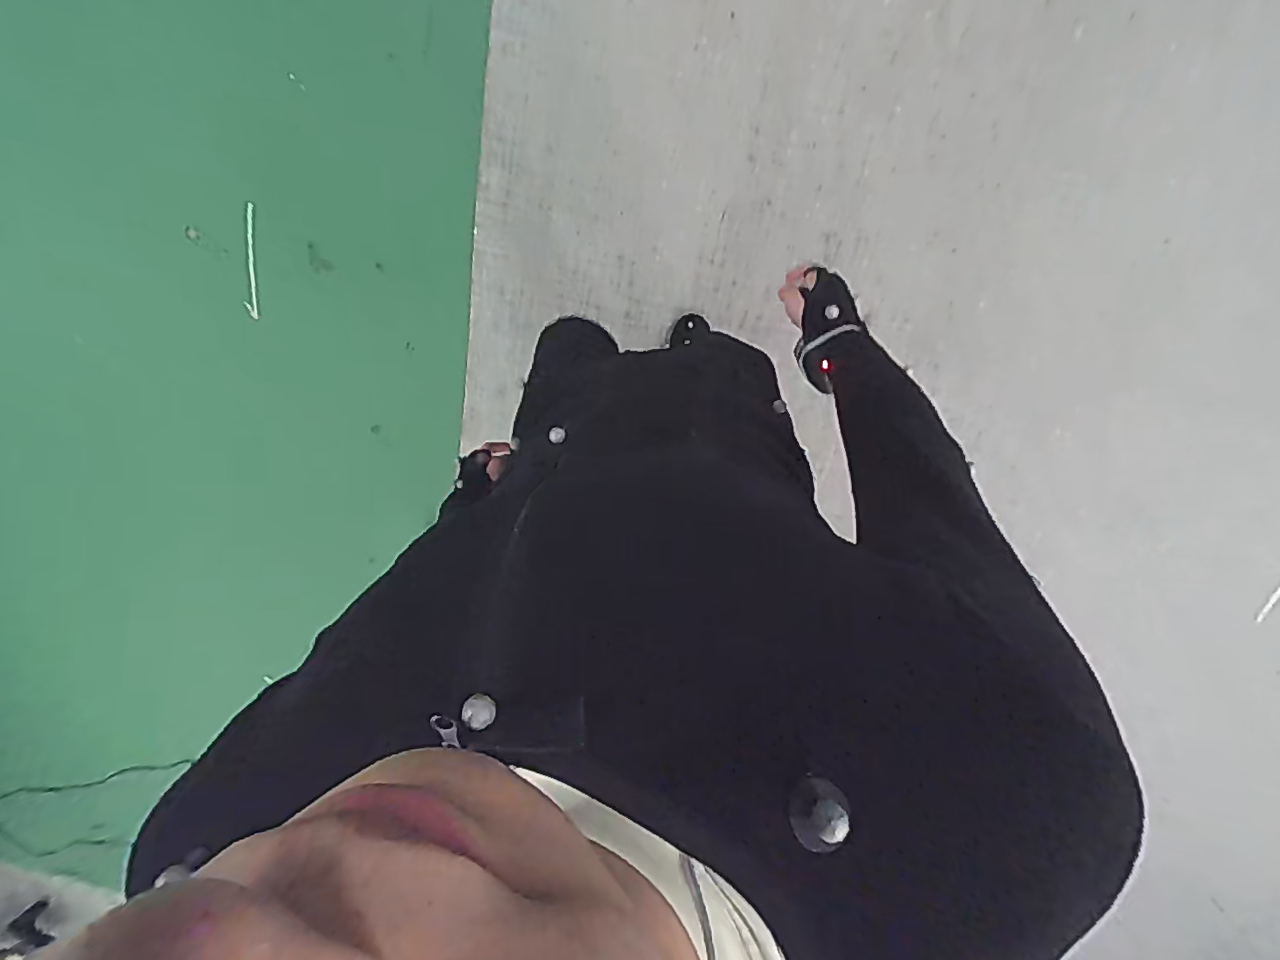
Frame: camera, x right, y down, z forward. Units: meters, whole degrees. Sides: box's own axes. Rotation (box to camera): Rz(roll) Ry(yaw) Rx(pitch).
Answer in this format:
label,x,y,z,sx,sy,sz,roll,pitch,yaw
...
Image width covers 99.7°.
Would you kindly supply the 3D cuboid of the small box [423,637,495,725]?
label,x,y,z,sx,sy,sz,roll,pitch,yaw
small box,-0.570,0.635,1.717,0.168,0.176,0.179,12,112,0
